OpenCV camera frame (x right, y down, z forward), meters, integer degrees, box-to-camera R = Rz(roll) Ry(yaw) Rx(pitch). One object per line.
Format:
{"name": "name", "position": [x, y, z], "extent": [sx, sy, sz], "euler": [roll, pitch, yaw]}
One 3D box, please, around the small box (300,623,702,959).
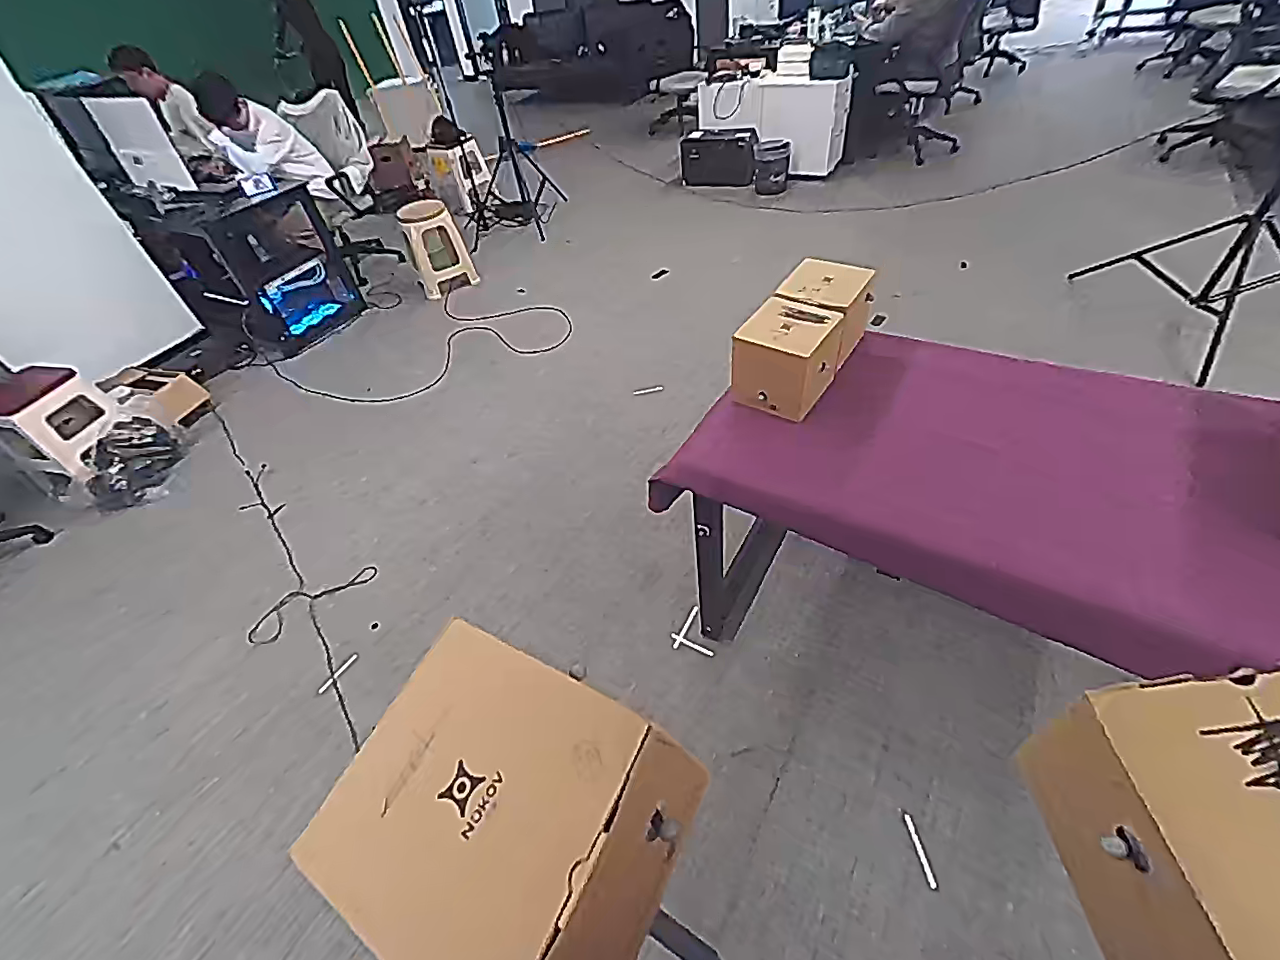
{"name": "small box", "position": [-0.074, 0.232, 0.379], "extent": [0.179, 0.176, 0.168], "euler": [14, 59, 30]}

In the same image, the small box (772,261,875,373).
{"name": "small box", "position": [0.416, -0.378, 1.250], "extent": [0.168, 0.176, 0.179], "euler": [24, 55, 28]}

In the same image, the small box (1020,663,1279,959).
{"name": "small box", "position": [0.369, 0.228, 0.322], "extent": [0.168, 0.176, 0.179], "euler": [-13, 50, 10]}
